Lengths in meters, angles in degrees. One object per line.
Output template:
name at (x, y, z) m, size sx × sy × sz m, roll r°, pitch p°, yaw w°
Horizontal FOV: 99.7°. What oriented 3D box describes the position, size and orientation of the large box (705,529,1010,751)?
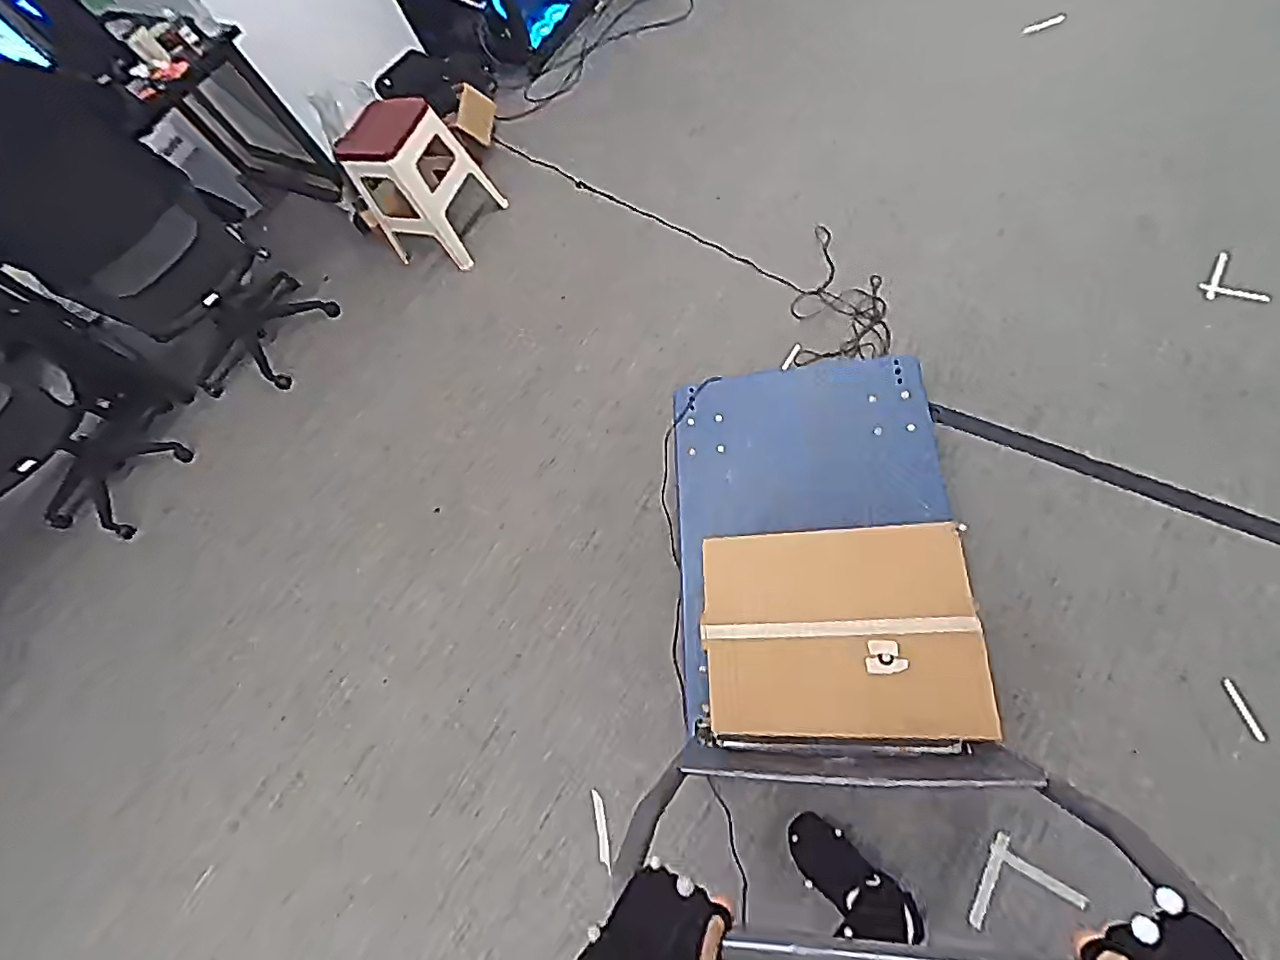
large box at (0.341, 0.287, 0.957) m, size 0.408 × 0.320 × 0.320 m, roll -6°, pitch 71°, yaw 13°
